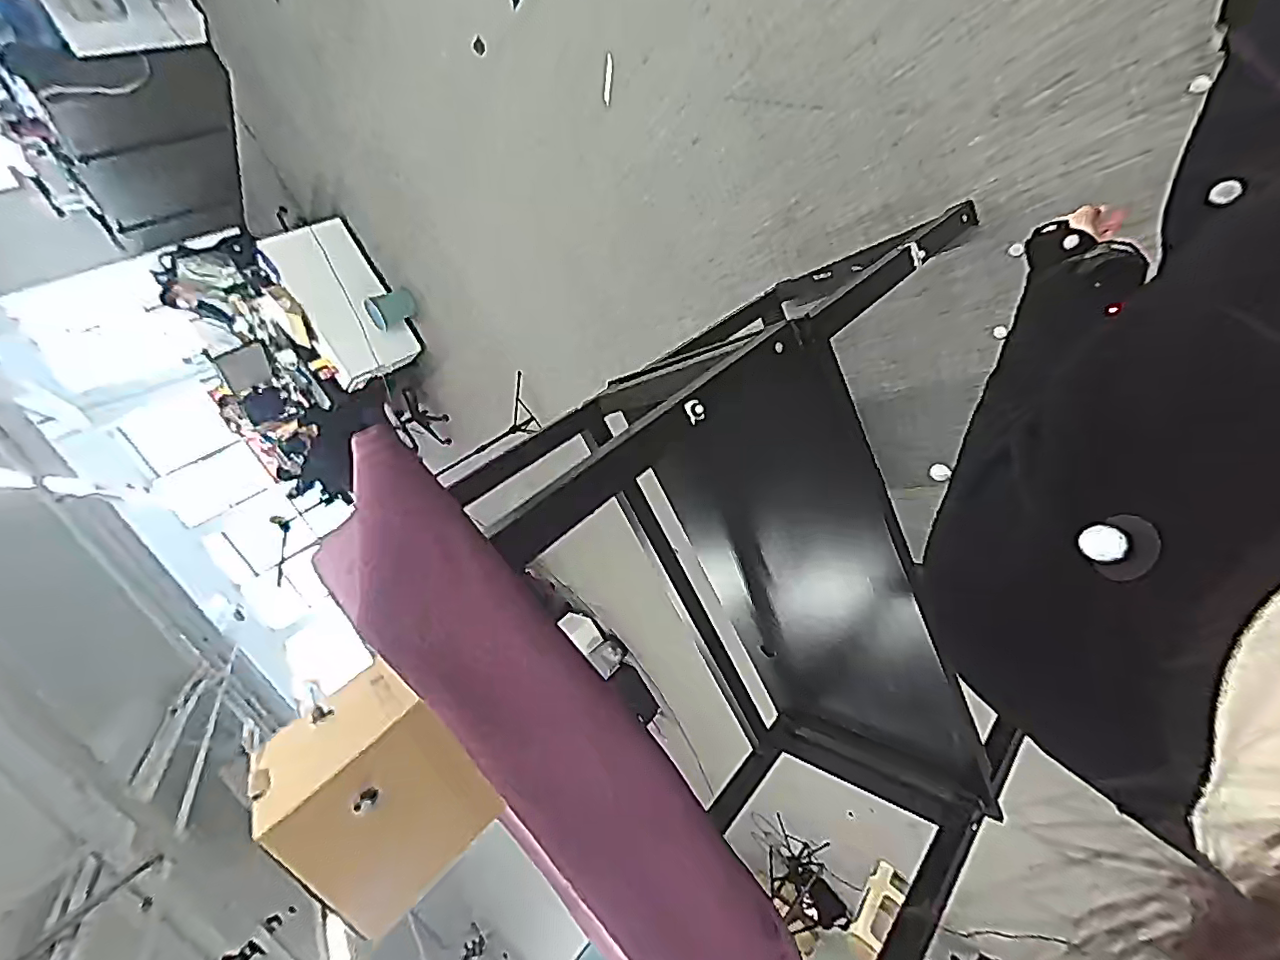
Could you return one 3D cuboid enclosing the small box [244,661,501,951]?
[{"bbox_3d":[-0.286,0.332,0.589,0.168,0.176,0.179,6,128,53],"label":"small box"}]
